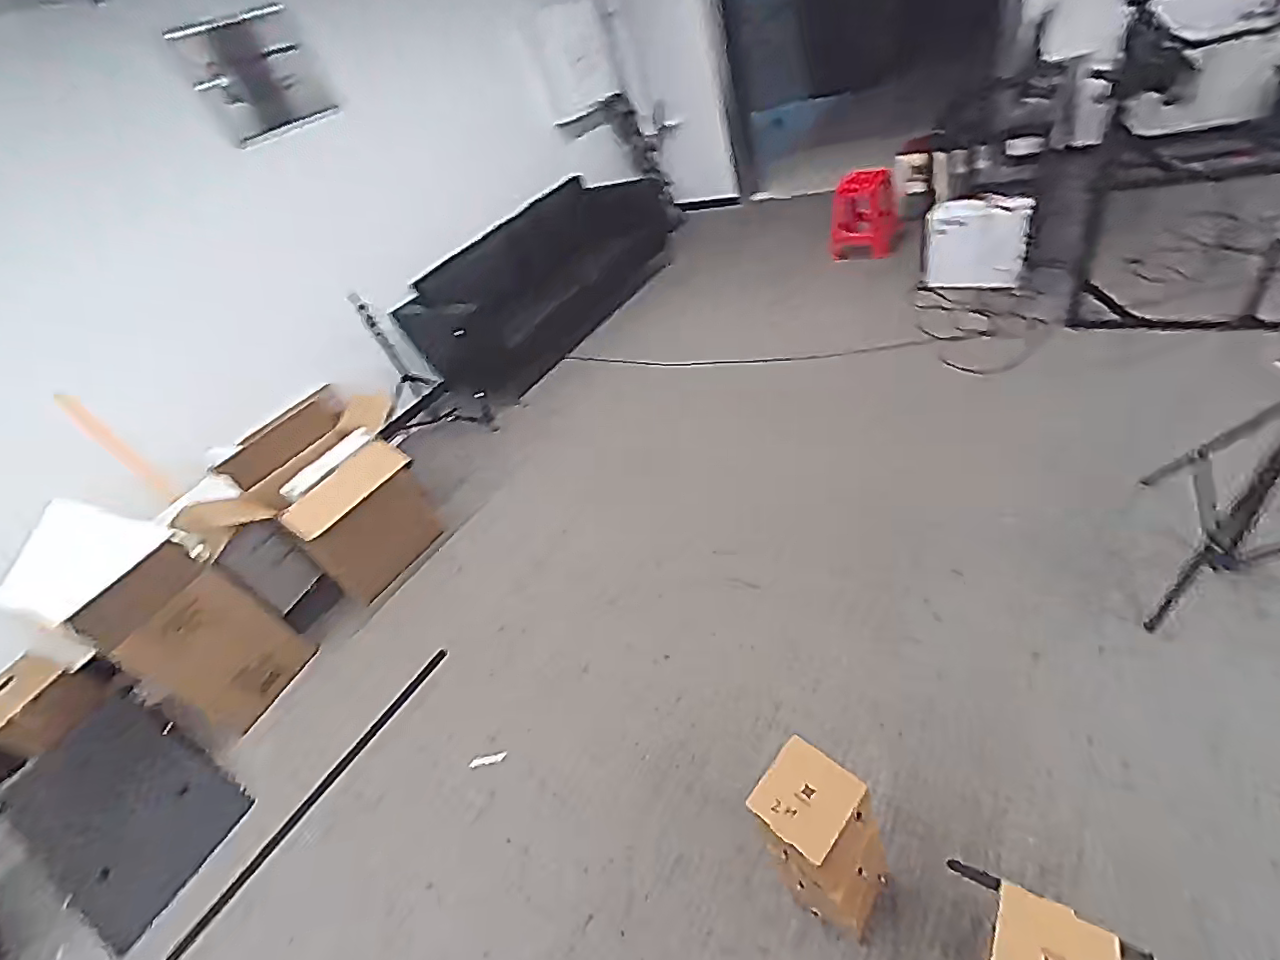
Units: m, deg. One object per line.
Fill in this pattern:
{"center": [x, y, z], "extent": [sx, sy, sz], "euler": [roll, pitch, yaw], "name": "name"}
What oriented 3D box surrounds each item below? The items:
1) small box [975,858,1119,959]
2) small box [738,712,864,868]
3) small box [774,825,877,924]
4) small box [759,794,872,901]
{"center": [0.681, 0.800, 0.917], "extent": [0.168, 0.176, 0.179], "euler": [12, 49, 35], "name": "small box"}
{"center": [0.318, 0.603, 1.055], "extent": [0.179, 0.176, 0.168], "euler": [-42, 42, -23], "name": "small box"}
{"center": [0.427, 0.854, 1.232], "extent": [0.168, 0.176, 0.179], "euler": [15, 51, 39], "name": "small box"}
{"center": [0.375, 0.733, 1.142], "extent": [0.168, 0.176, 0.179], "euler": [18, 53, 40], "name": "small box"}
